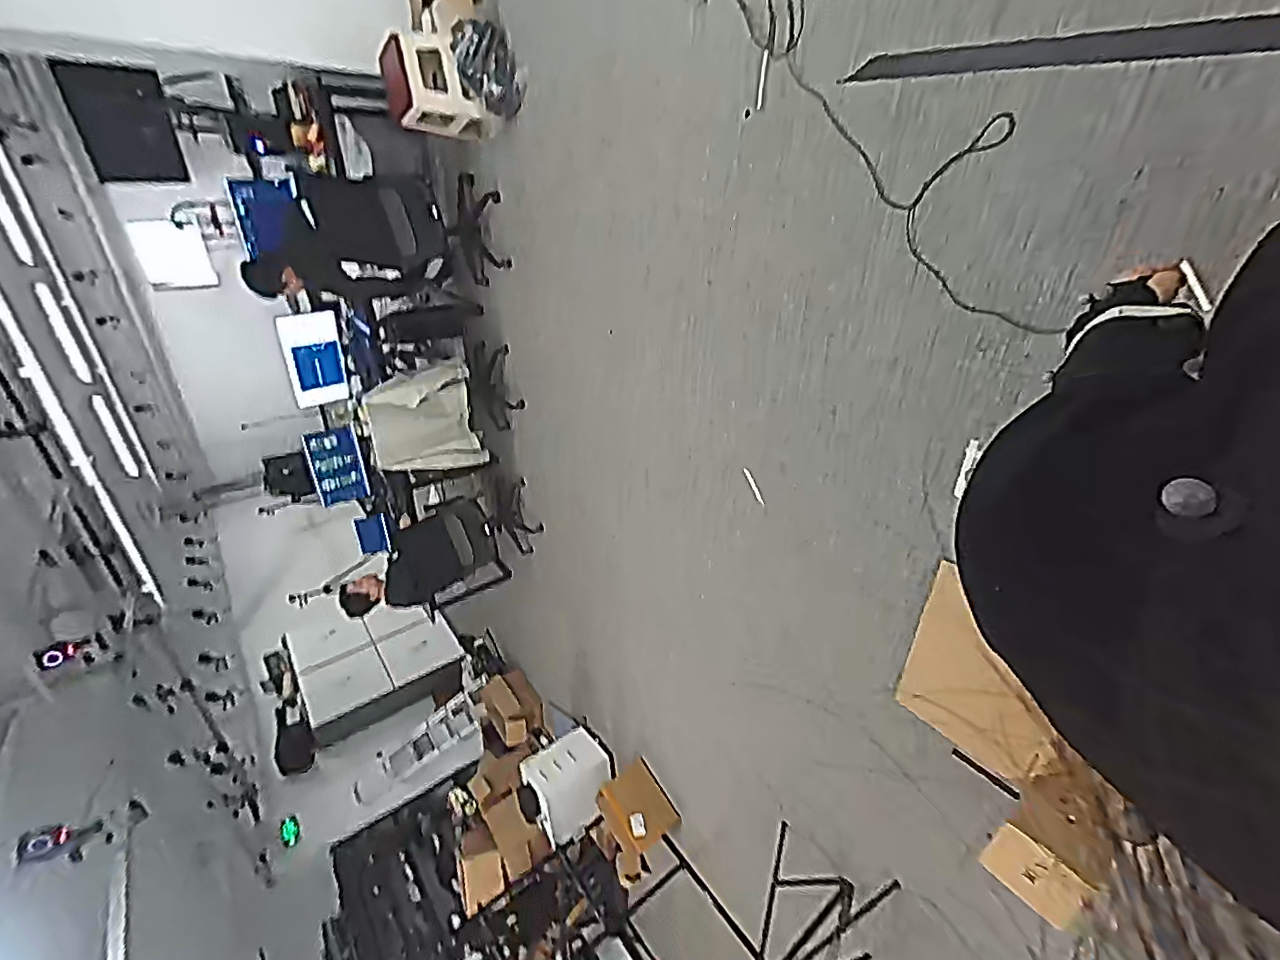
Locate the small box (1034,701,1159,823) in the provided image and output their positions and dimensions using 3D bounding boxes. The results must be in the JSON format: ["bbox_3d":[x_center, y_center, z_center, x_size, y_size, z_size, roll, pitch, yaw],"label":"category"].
[{"bbox_3d":[1.131,0.689,1.338,0.168,0.176,0.179,37,135,41],"label":"small box"}]

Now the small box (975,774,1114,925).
[{"bbox_3d":[0.870,0.786,1.163,0.168,0.176,0.179,34,132,42],"label":"small box"}]
